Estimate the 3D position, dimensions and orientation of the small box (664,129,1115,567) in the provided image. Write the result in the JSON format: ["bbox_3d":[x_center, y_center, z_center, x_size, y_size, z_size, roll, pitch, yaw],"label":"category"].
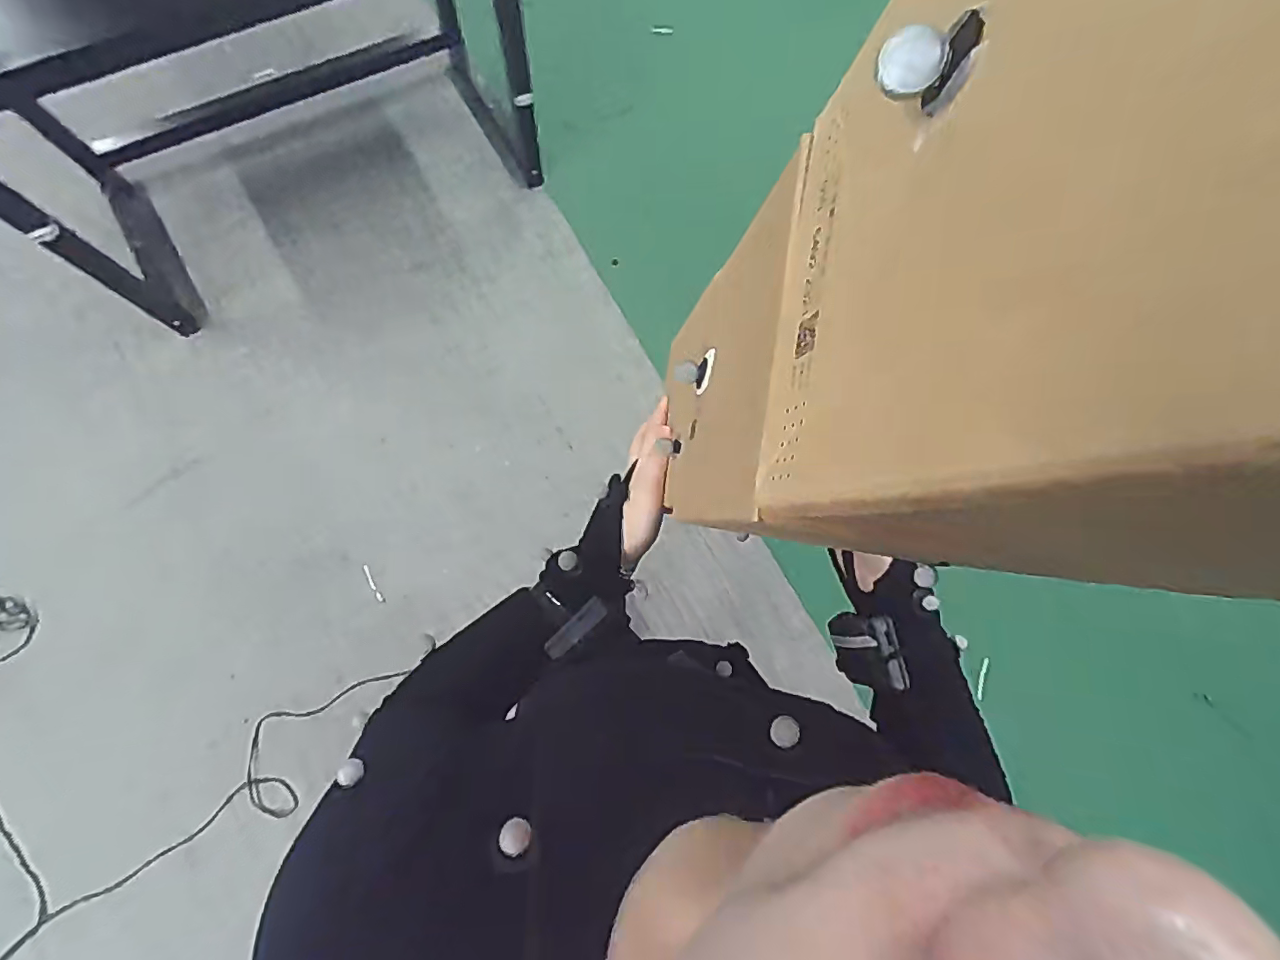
[{"bbox_3d":[0.122,-0.049,0.309,0.179,0.176,0.168,9,84,-7],"label":"small box"}]

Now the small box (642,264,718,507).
[{"bbox_3d":[0.102,-0.053,0.471,0.168,0.176,0.179,10,84,-8],"label":"small box"}]
